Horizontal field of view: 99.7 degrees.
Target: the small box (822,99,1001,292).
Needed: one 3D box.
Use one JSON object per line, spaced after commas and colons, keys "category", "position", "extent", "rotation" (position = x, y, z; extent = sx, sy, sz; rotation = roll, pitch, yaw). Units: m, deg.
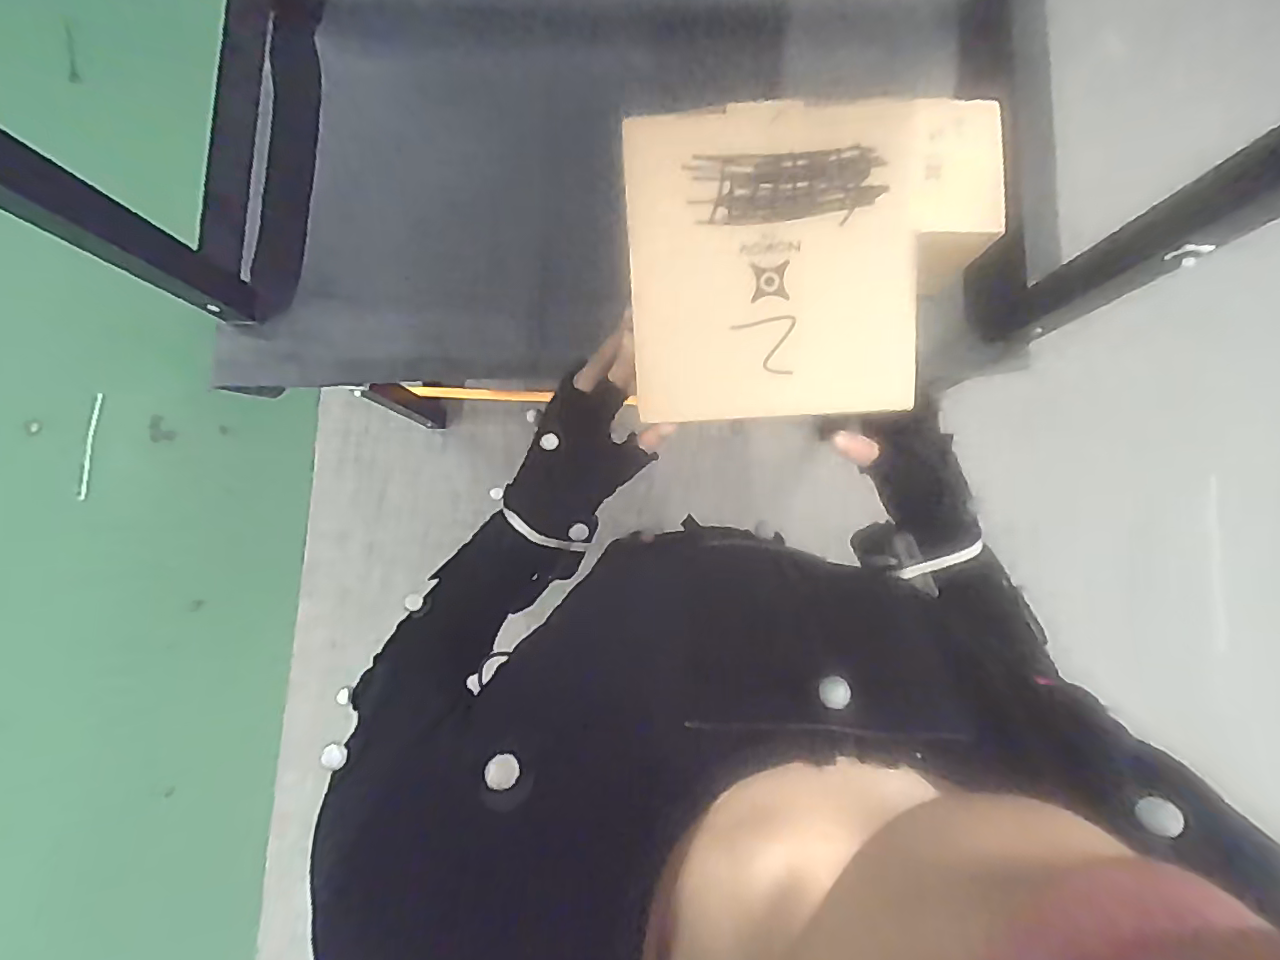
{"category": "small box", "position": [0.356, -0.374, 0.737], "extent": [0.168, 0.176, 0.179], "rotation": [2, 83, 1]}
